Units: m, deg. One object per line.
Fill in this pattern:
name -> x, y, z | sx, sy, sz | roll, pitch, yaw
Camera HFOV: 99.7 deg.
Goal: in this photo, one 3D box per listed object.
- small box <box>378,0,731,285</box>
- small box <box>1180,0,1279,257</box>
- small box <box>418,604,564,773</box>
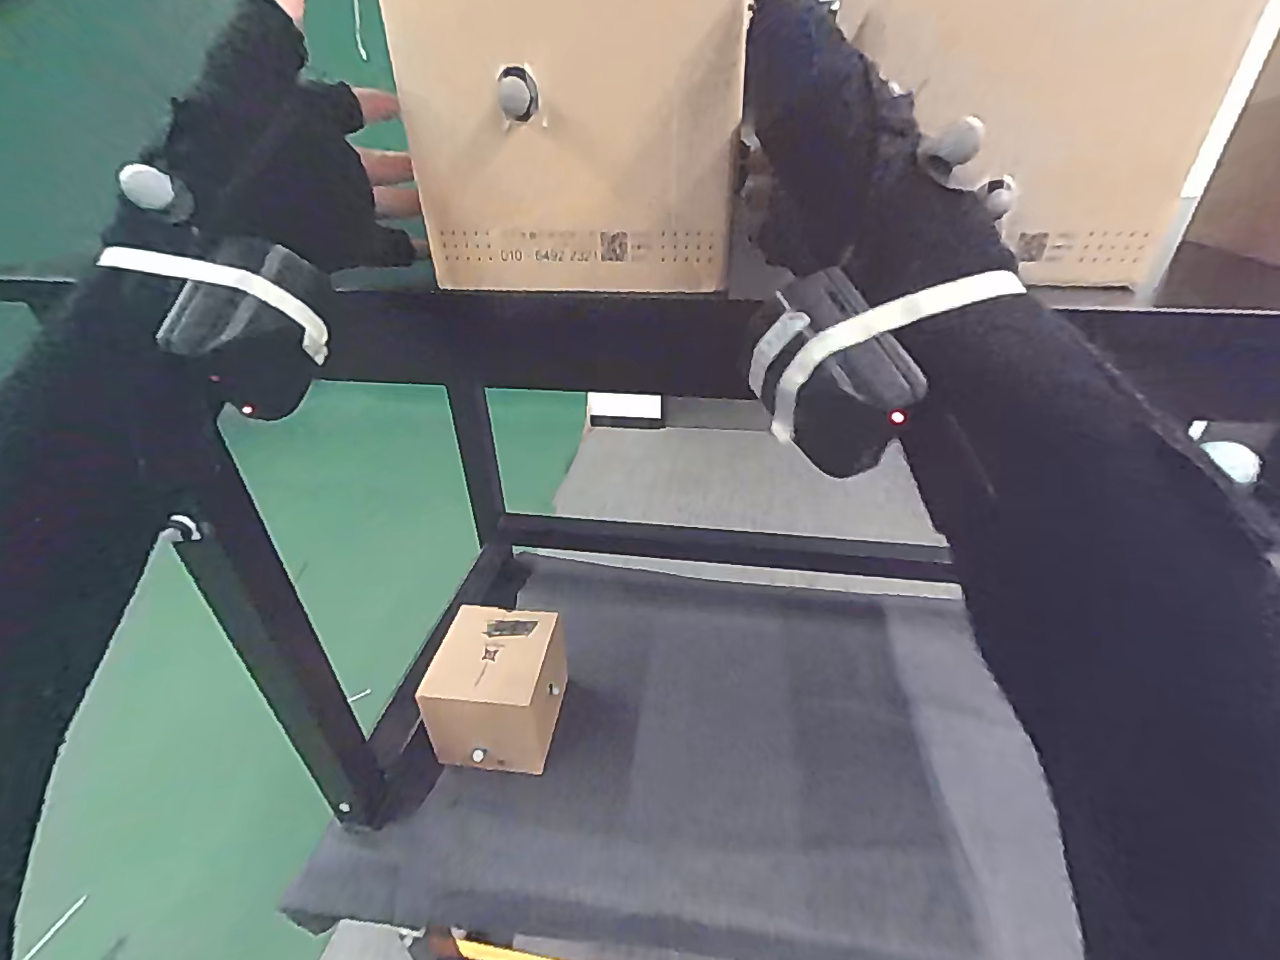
small box -> -0.030, -0.222, 0.334 | 0.168, 0.176, 0.179 | 2, 31, 5
small box -> 0.472, -0.213, 0.298 | 0.168, 0.176, 0.179 | 9, 32, 15
small box -> -0.218, 0.322, 0.847 | 0.168, 0.176, 0.179 | 3, 32, 6
